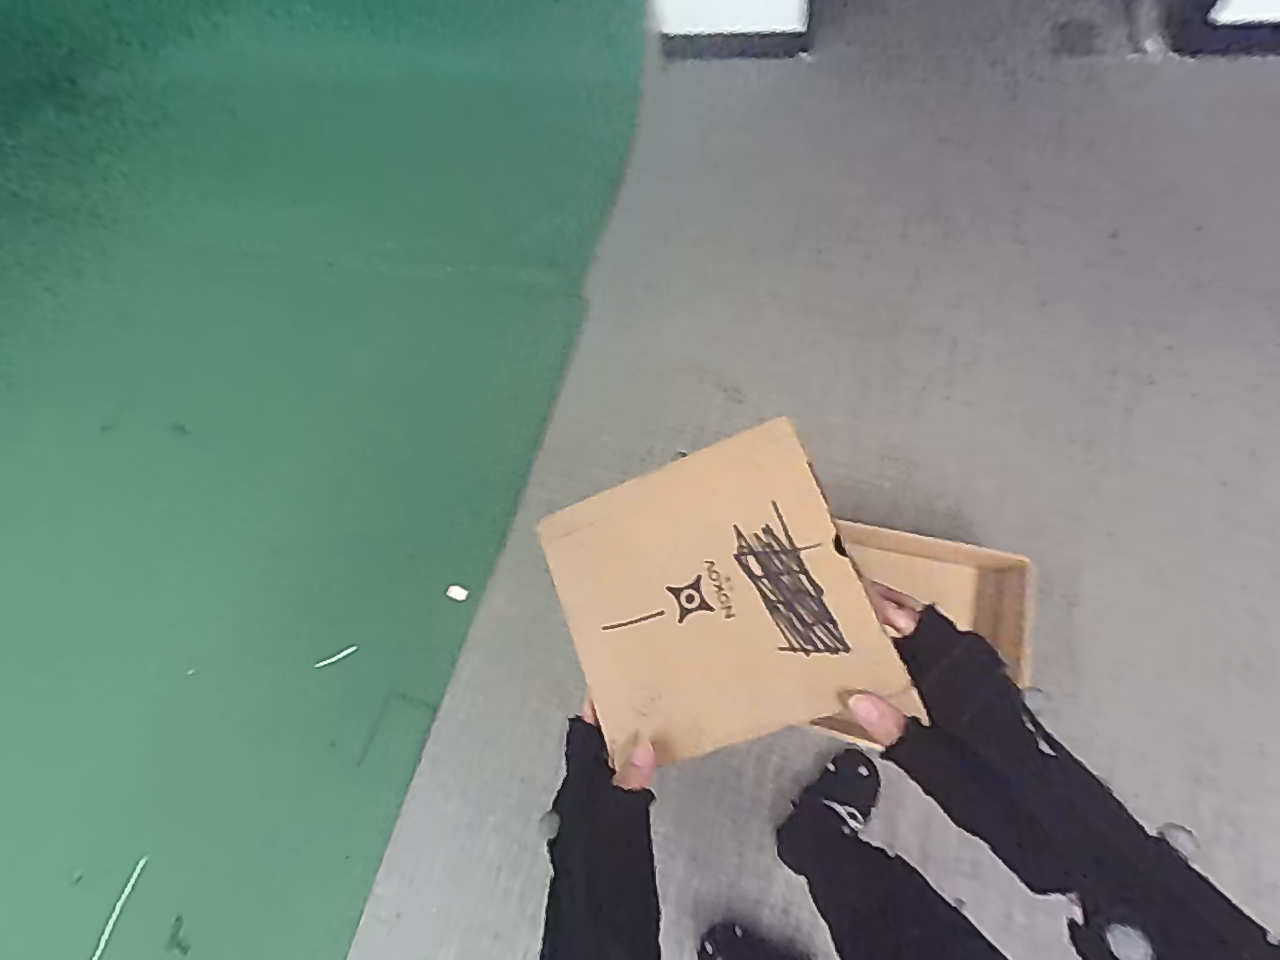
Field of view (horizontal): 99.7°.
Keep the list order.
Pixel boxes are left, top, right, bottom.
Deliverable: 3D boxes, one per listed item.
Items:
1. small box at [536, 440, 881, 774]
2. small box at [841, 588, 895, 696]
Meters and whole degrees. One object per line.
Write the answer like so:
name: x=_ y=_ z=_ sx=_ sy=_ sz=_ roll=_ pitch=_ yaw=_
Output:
small box: x=0.052 y=0.088 z=0.413 sx=0.179 sy=0.176 sz=0.168 roll=-23 pitch=77 yaw=11
small box: x=0.395 y=0.316 z=1.079 sx=0.168 sy=0.176 sz=0.179 roll=10 pitch=74 yaw=16
